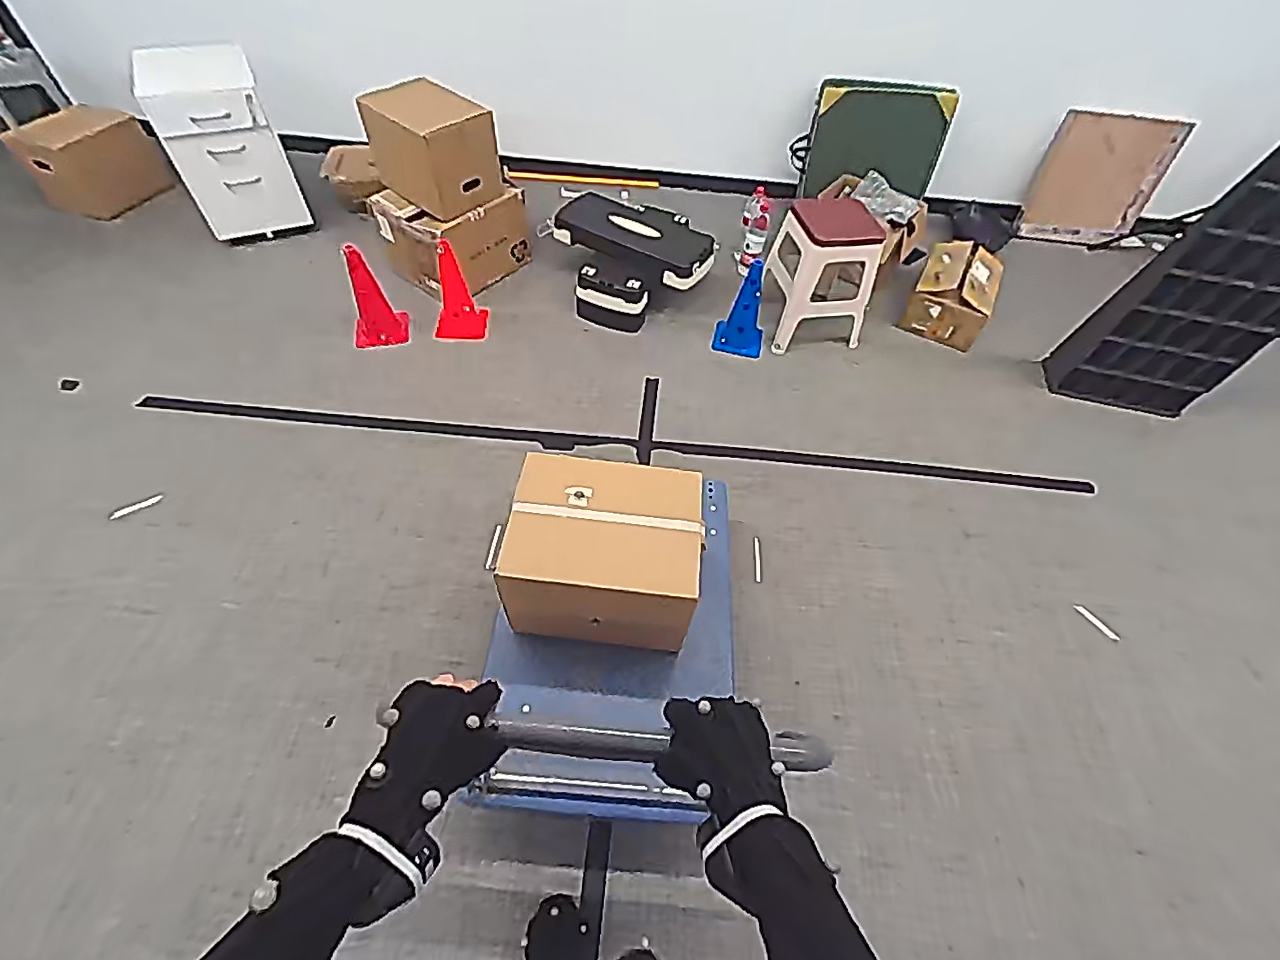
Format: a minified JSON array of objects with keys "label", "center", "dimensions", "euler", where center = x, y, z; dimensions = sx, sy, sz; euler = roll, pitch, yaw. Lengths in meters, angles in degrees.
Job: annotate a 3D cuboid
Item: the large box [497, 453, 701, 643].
[{"label":"large box","center":[-0.078,0.168,1.268],"dimensions":[0.408,0.320,0.320],"euler":[7,54,1]}]
